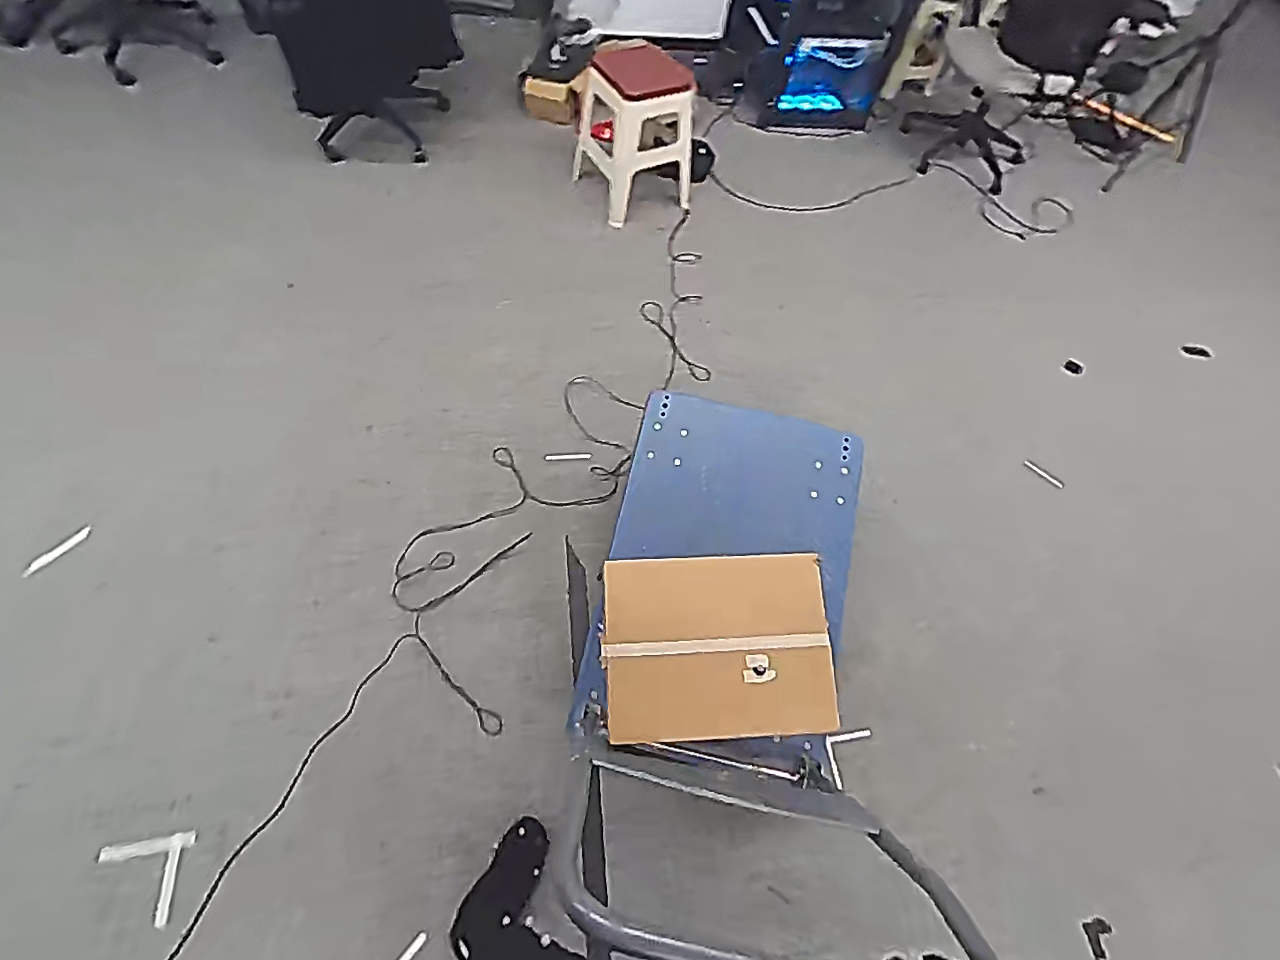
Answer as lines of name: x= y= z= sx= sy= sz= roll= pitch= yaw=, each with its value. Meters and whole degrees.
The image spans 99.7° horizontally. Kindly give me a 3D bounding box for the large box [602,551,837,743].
large box: x=0.131 y=0.330 z=1.114 sx=0.408 sy=0.320 sz=0.320 roll=-2 pitch=76 yaw=-5
